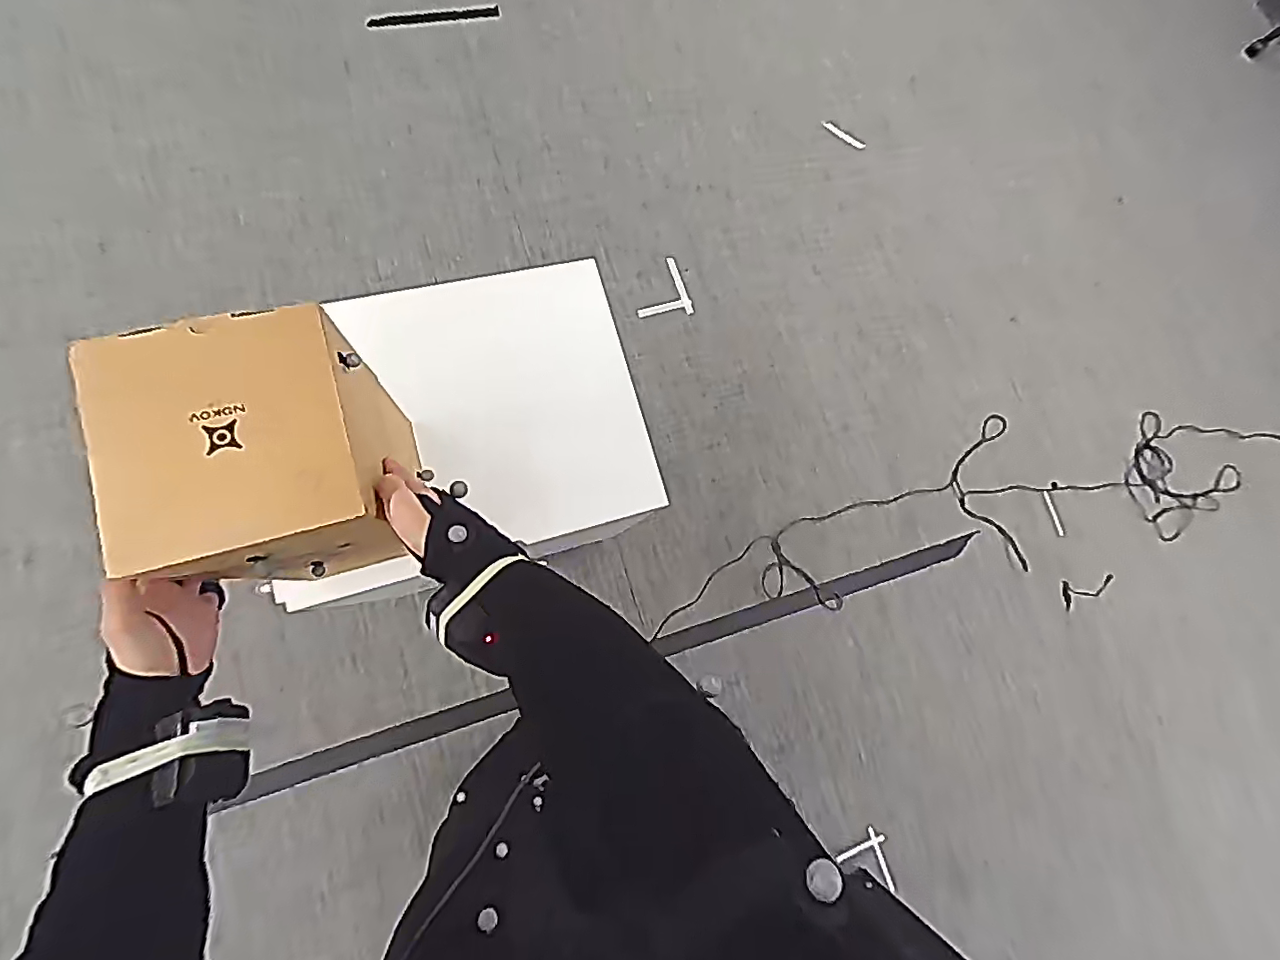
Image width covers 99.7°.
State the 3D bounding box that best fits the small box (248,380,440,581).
[{"bbox_3d":[-0.343,0.009,0.622,0.168,0.176,0.179,-15,82,-13],"label":"small box"}]

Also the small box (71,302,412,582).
[{"bbox_3d":[-0.312,-0.020,0.464,0.168,0.176,0.179,-16,82,-13],"label":"small box"}]
